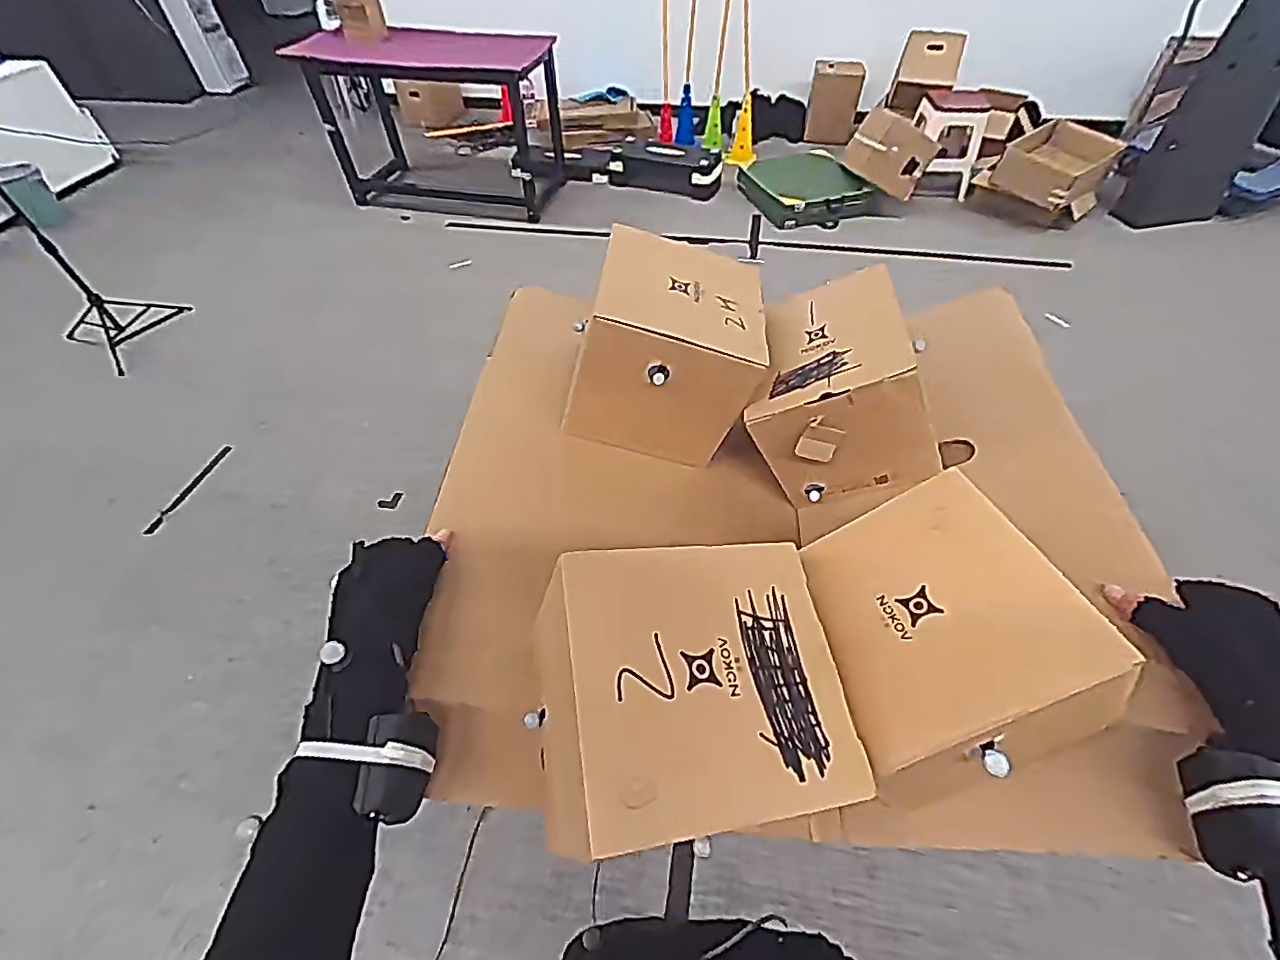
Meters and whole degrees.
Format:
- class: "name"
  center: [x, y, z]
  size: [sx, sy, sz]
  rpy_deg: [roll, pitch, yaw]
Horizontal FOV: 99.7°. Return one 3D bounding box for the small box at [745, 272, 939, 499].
- class: "small box"
  center: [0.230, -0.094, 0.625]
  size: [0.168, 0.176, 0.179]
  rpy_deg: [-15, 46, 27]
